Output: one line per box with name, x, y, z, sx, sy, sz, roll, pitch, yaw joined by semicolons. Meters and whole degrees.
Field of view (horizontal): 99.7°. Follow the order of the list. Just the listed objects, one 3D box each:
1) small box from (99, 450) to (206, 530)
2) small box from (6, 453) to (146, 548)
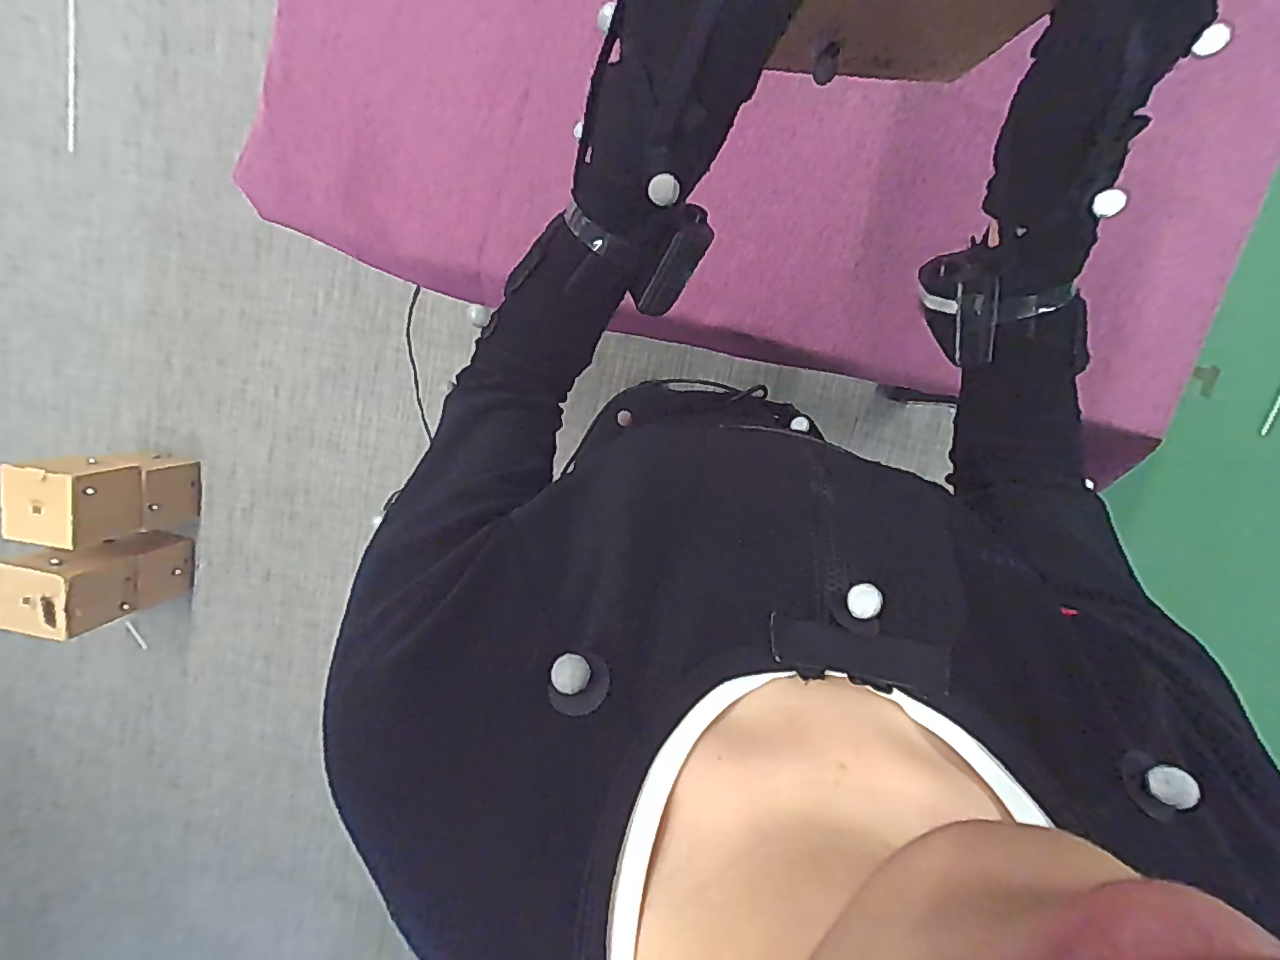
small box;-1.320;0.020;1.448;0.179;0.176;0.168;10;101;1
small box;-1.329;0.043;1.287;0.168;0.176;0.179;9;100;0
